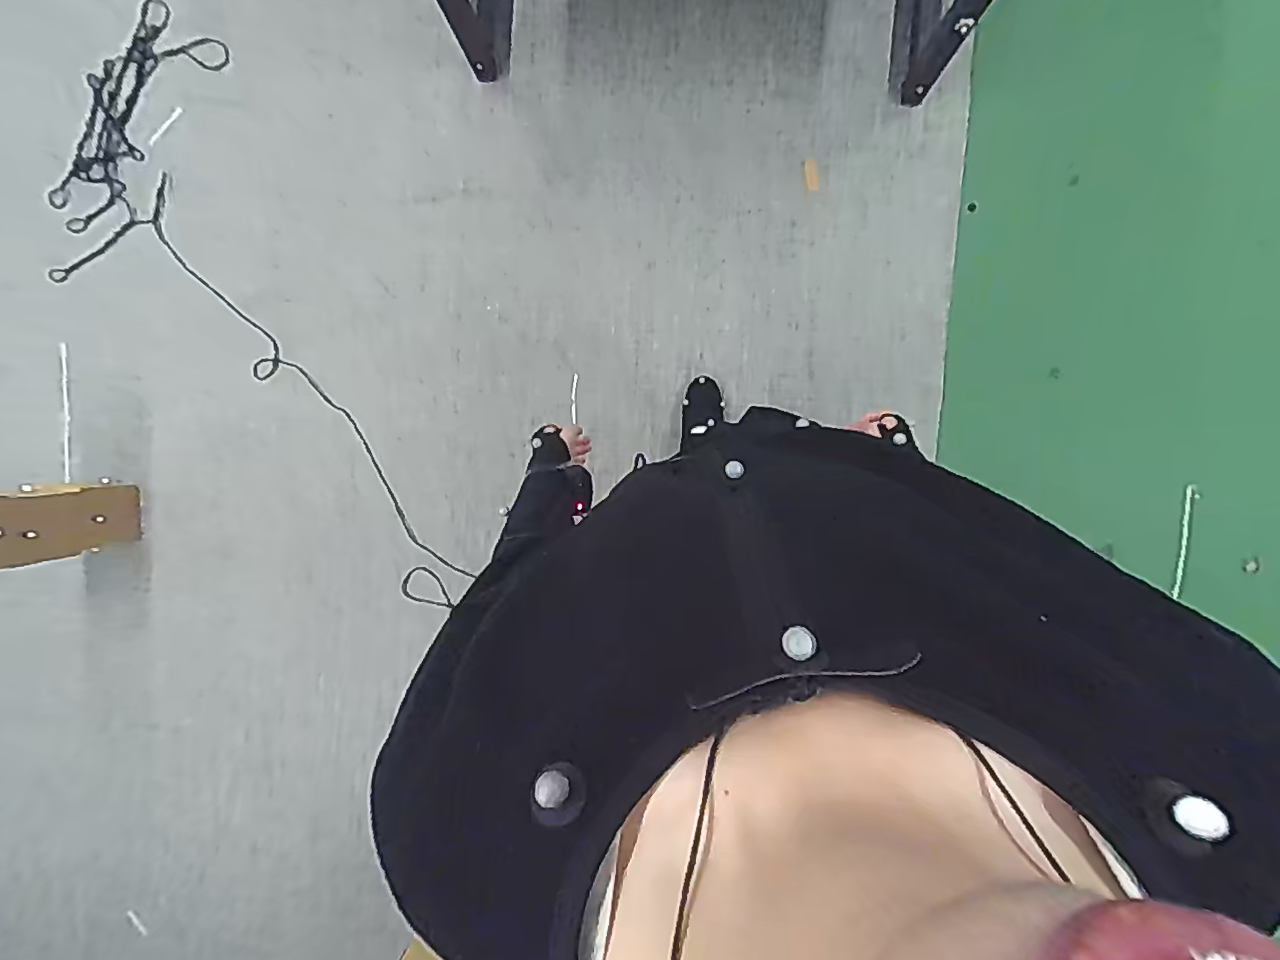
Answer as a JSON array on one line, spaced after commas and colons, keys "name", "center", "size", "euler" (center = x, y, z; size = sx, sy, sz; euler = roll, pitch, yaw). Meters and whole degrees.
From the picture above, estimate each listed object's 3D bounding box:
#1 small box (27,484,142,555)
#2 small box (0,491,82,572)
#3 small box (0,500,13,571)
[{"name": "small box", "center": [-1.566, 0.107, 1.533], "size": [0.168, 0.176, 0.179], "euler": [3, 92, 3]}, {"name": "small box", "center": [-1.577, 0.124, 1.369], "size": [0.168, 0.176, 0.179], "euler": [3, 93, 2]}, {"name": "small box", "center": [-1.572, 0.128, 1.206], "size": [0.168, 0.176, 0.179], "euler": [1, 92, 3]}]
